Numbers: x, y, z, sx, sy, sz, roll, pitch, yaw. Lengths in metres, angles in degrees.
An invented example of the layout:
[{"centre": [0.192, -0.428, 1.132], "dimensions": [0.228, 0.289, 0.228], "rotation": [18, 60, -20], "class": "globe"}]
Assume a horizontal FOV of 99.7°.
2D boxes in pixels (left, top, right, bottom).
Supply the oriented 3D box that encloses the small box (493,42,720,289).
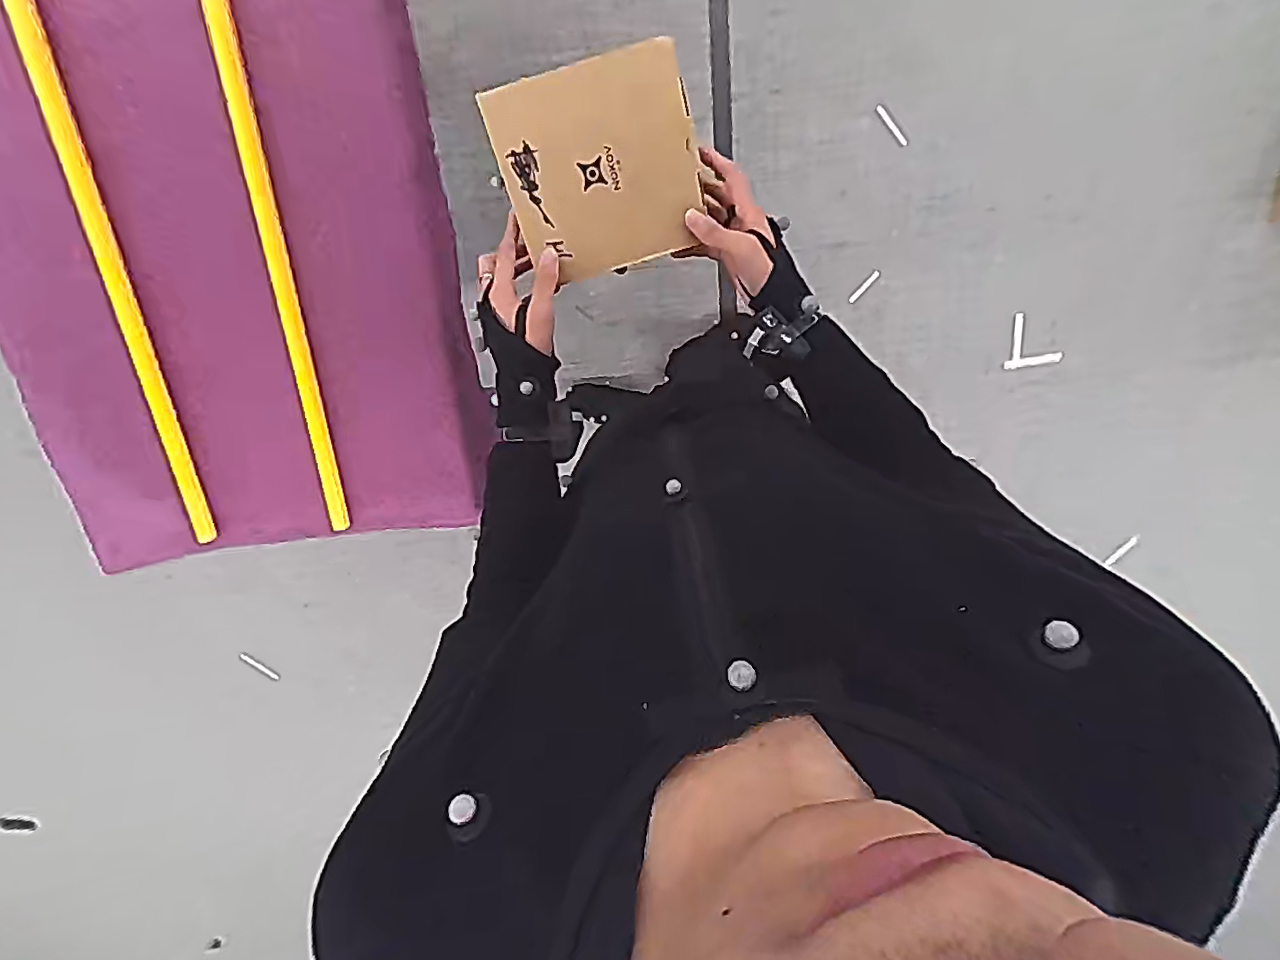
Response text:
[{"centre": [-0.033, -0.311, 0.557], "dimensions": [0.179, 0.176, 0.168], "rotation": [-15, 116, 1], "class": "small box"}]
